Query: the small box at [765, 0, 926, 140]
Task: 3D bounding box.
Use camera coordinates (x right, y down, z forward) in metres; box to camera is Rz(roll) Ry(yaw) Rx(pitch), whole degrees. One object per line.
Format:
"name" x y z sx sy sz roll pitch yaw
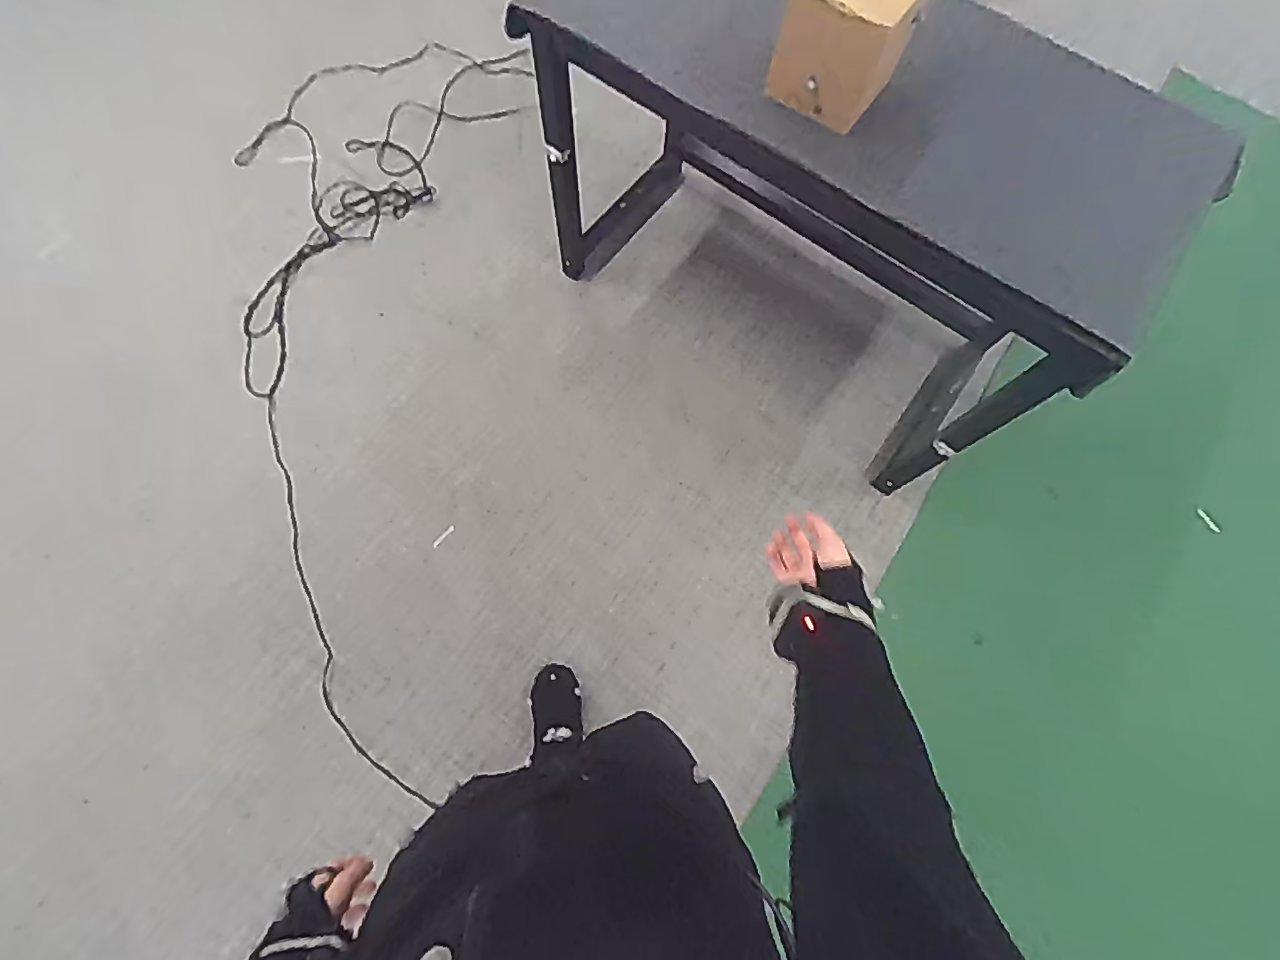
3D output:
"small box" 0.329 -0.712 0.888 0.168 0.176 0.179 34 72 8
